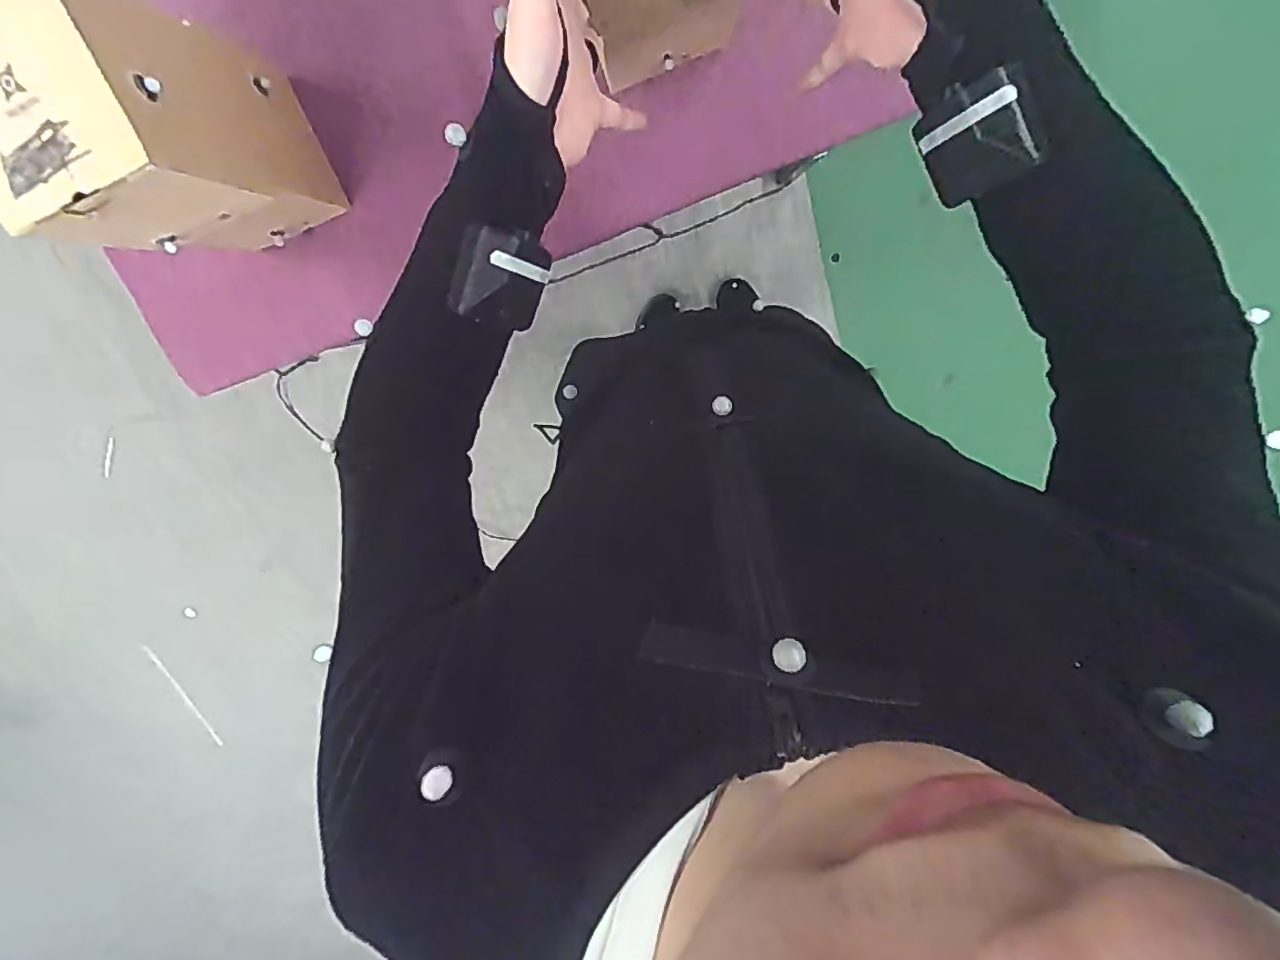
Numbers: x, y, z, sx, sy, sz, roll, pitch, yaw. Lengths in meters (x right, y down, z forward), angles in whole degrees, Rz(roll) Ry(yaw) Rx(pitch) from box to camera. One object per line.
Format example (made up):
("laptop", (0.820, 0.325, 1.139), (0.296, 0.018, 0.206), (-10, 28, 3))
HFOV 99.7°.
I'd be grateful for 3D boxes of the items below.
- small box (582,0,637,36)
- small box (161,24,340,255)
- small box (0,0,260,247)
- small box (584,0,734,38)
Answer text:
("small box", (0.006, -0.519, 0.452), (0.168, 0.176, 0.179), (-18, 107, 6))
("small box", (-0.523, -0.398, 0.671), (0.168, 0.176, 0.179), (-19, 107, 7))
("small box", (-0.523, -0.338, 0.519), (0.168, 0.176, 0.179), (-19, 106, 7))
("small box", (0.018, -0.415, 0.311), (0.168, 0.176, 0.179), (-14, 105, 6))
